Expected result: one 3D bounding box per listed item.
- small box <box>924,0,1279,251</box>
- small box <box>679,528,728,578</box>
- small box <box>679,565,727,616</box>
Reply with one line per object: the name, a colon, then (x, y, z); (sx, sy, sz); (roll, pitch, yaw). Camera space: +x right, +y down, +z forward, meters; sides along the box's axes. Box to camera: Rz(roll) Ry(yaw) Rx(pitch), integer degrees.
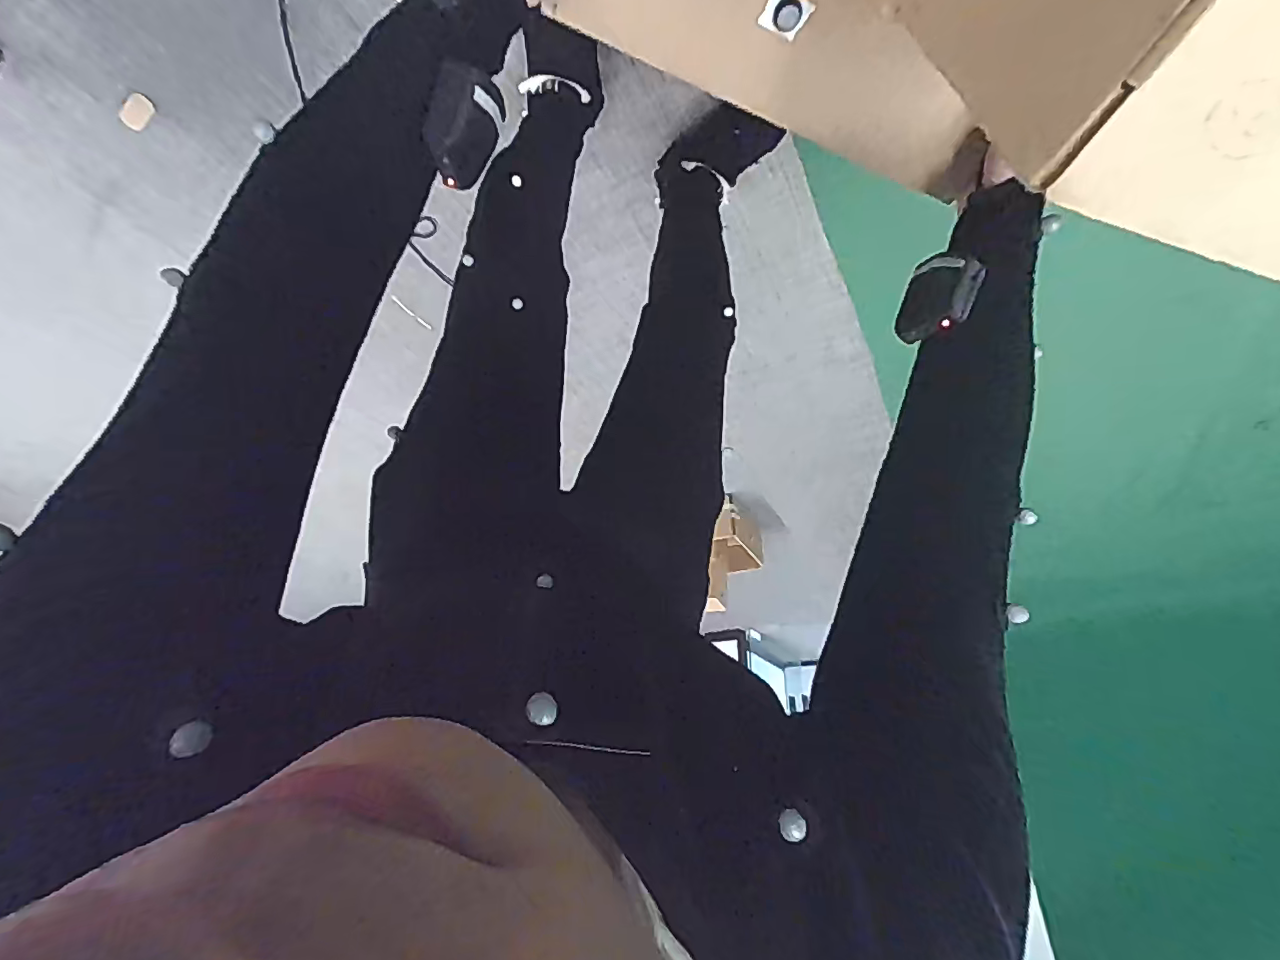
small box: (0.230, -0.197, 0.171); (0.179, 0.176, 0.168); (11, 144, -12)
small box: (0.283, 0.323, 2.357); (0.168, 0.176, 0.179); (-9, 147, 24)
small box: (0.271, 0.466, 2.281); (0.168, 0.176, 0.179); (-7, 147, 21)
